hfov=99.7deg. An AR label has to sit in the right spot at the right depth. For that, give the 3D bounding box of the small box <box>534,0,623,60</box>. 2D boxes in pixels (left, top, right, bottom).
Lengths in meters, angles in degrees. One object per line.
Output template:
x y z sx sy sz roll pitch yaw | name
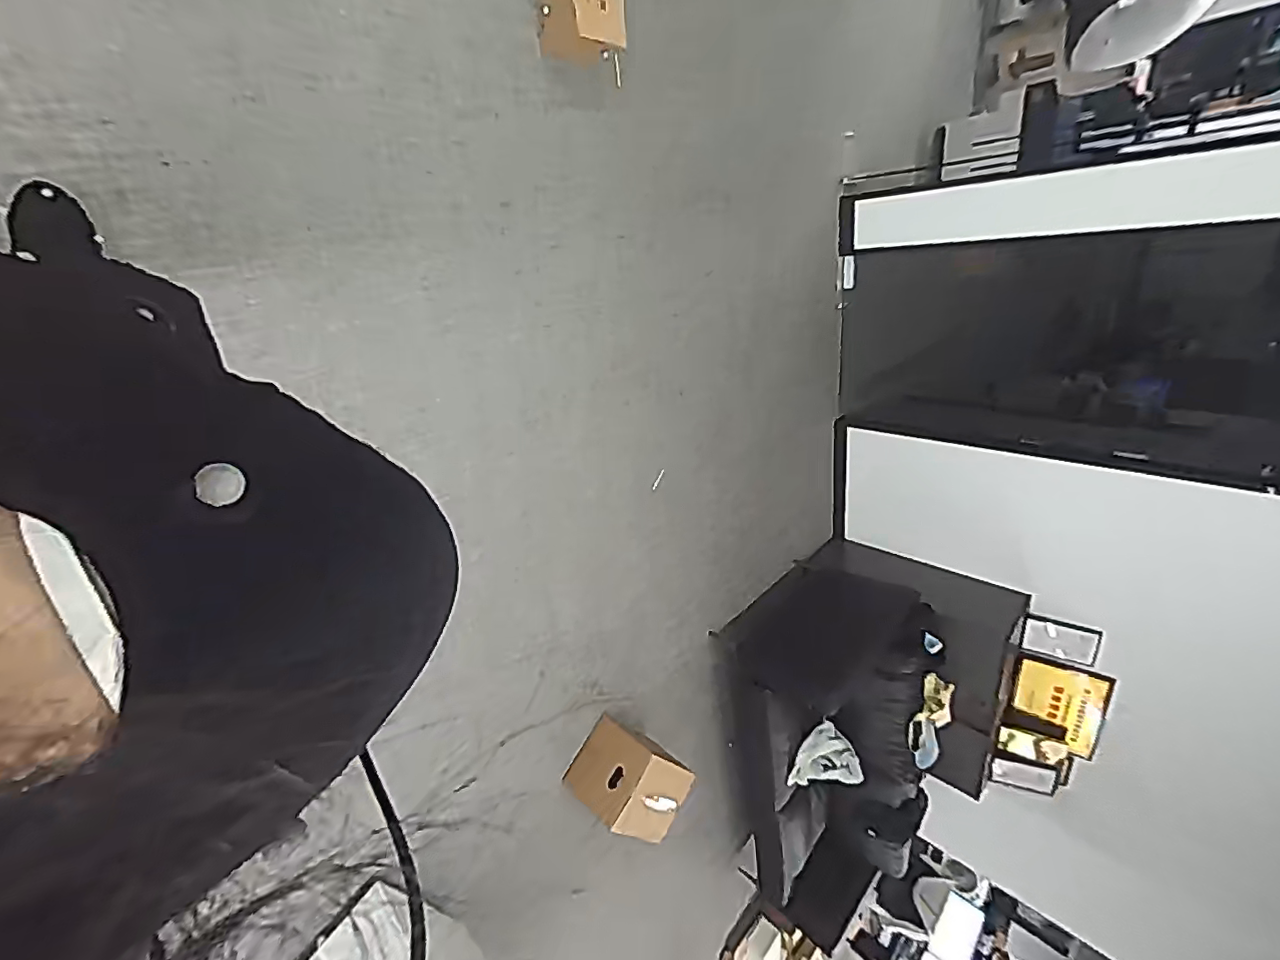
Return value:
-0.168 -1.275 1.471 0.179 0.176 0.168 -23 118 -39 | small box
